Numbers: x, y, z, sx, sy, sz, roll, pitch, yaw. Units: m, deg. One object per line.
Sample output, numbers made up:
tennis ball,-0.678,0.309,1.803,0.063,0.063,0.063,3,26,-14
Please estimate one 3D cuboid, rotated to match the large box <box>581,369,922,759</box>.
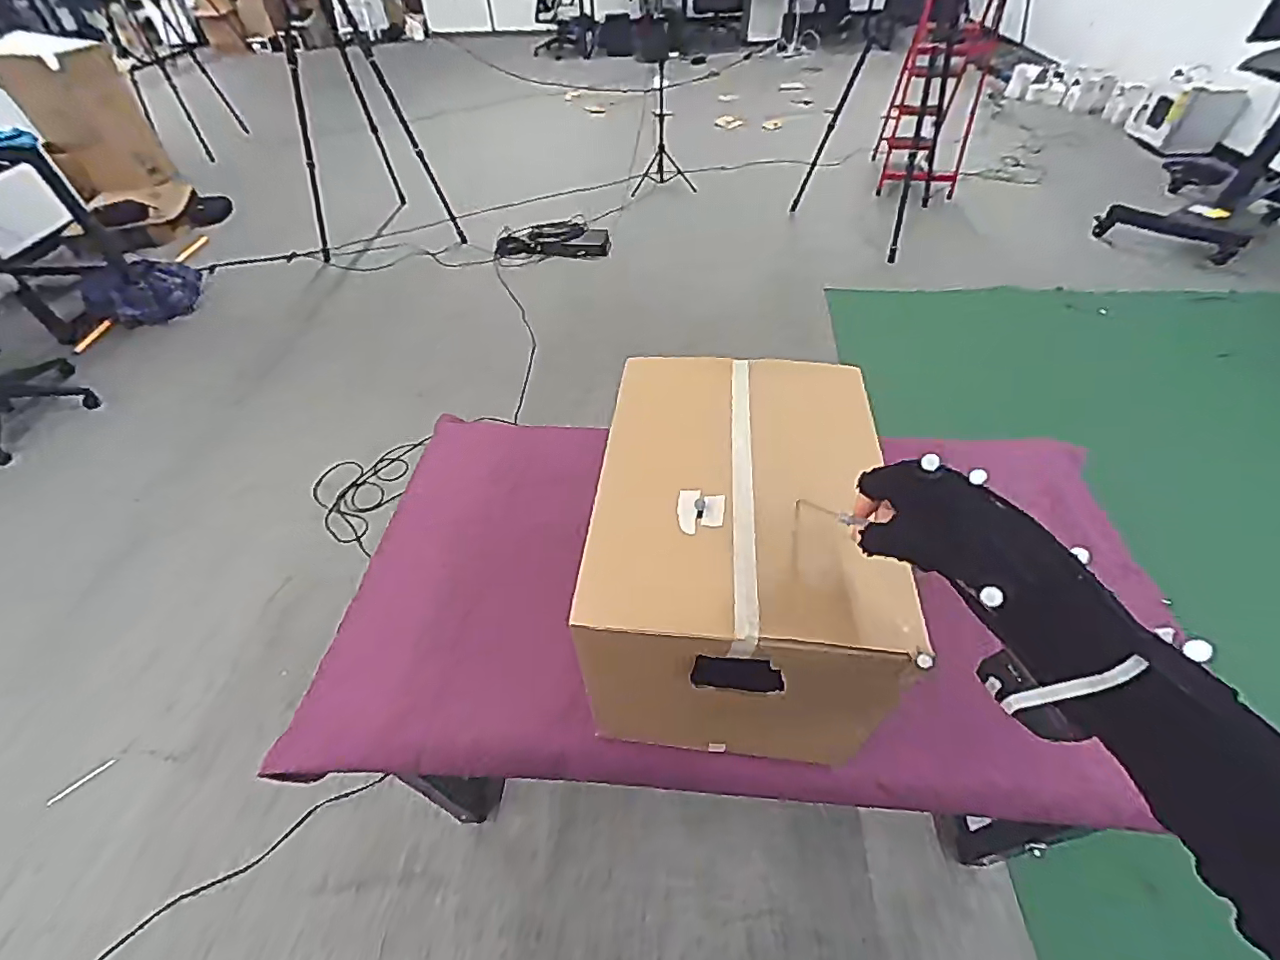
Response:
large box,0.117,0.102,0.724,0.320,0.320,0.408,4,49,6
